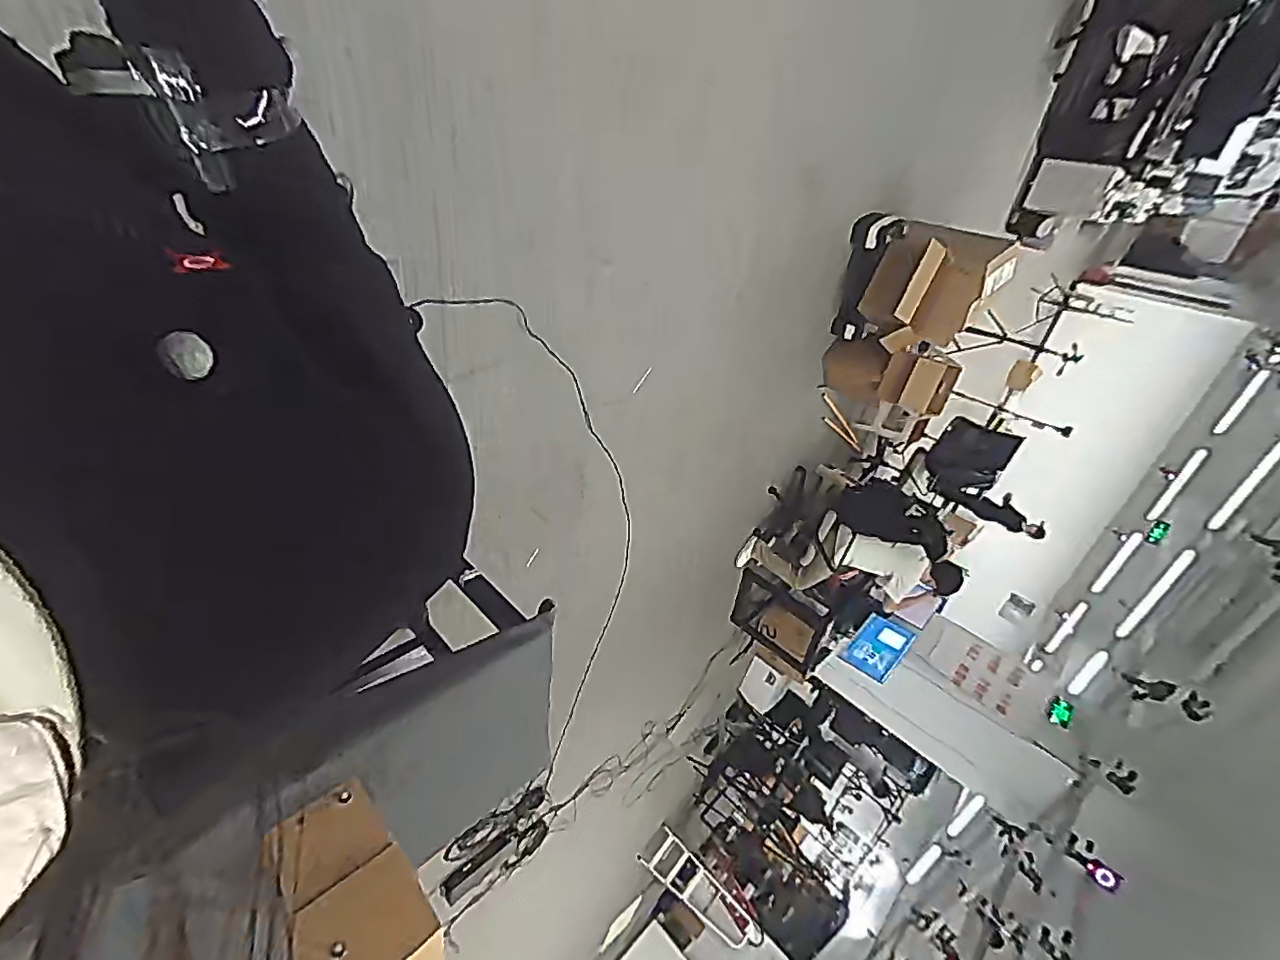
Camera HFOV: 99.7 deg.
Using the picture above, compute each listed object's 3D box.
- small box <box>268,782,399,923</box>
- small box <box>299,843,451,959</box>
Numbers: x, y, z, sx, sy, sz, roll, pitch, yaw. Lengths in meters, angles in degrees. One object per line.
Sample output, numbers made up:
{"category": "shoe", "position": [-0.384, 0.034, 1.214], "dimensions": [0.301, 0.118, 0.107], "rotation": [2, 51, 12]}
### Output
{"category": "small box", "position": [-0.549, 0.700, 0.994], "dimensions": [0.168, 0.176, 0.179], "rotation": [-27, 135, -38]}
{"category": "small box", "position": [-0.437, 0.761, 0.893], "dimensions": [0.179, 0.176, 0.168], "rotation": [-23, 135, -42]}
